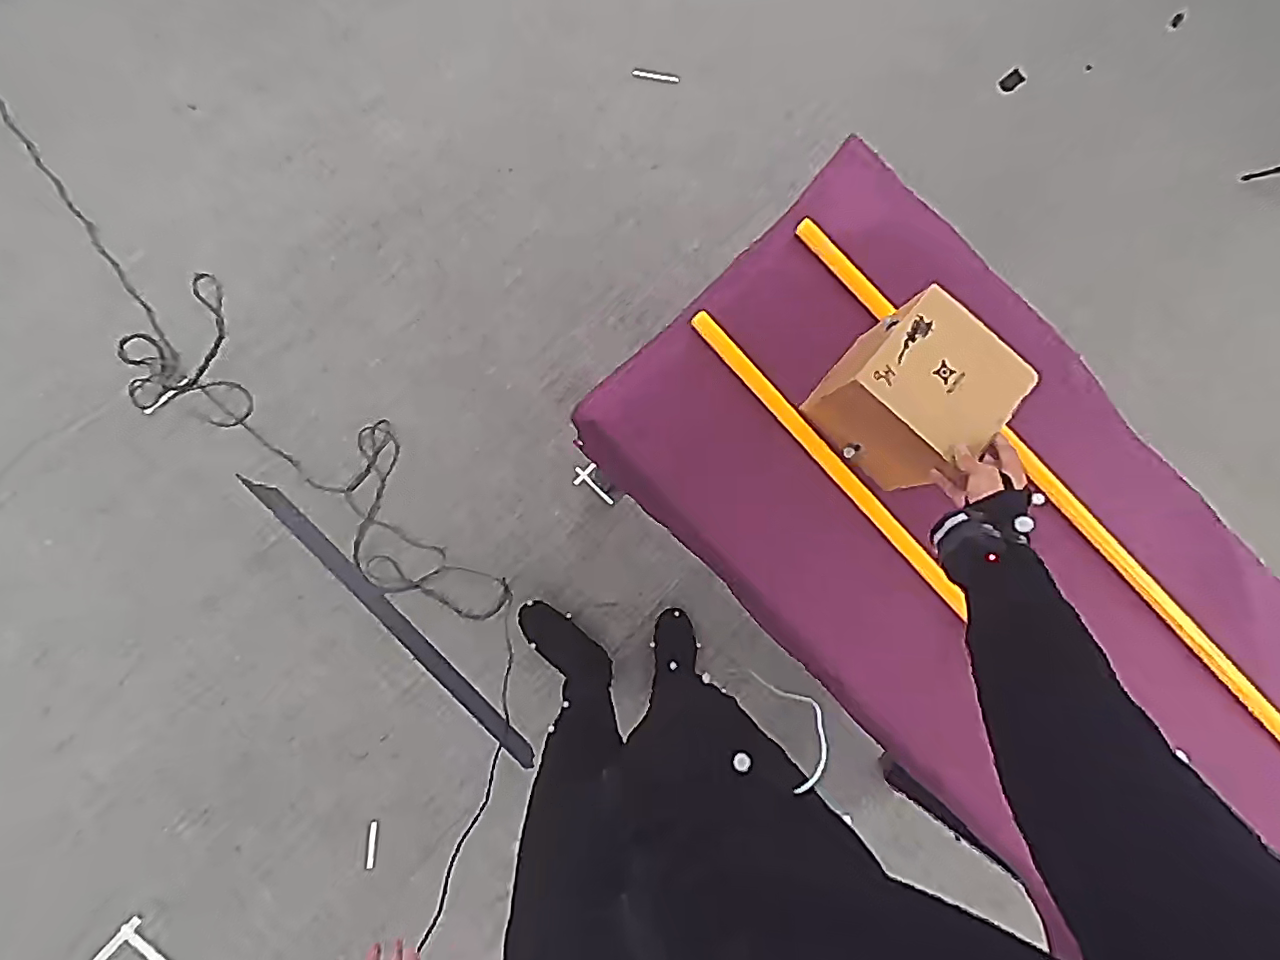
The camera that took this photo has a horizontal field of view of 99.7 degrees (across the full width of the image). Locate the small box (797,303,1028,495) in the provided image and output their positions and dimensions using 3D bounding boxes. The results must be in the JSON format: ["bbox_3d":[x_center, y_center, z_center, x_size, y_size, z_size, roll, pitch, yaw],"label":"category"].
[{"bbox_3d":[0.349,-0.094,0.724,0.179,0.176,0.168,43,81,-1],"label":"small box"}]
